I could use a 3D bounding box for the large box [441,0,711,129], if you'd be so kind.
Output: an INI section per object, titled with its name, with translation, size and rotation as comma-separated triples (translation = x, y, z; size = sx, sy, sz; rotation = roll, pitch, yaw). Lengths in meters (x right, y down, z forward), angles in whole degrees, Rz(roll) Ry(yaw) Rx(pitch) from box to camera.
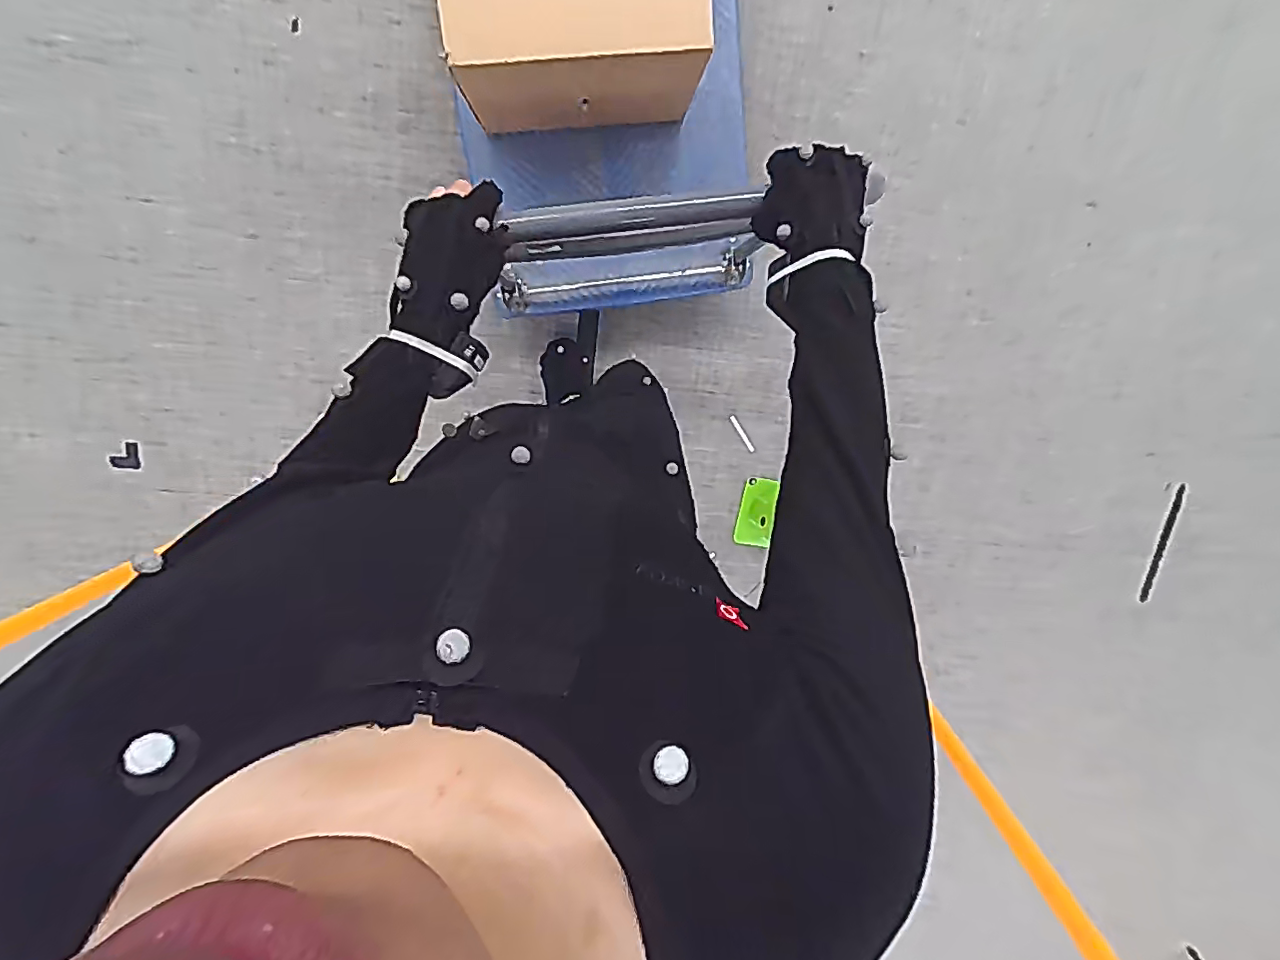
[large box]
translation = -0.111, -0.834, 0.922
size = 0.408, 0.320, 0.320
rotation = -6, 107, -2

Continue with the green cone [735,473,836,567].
[green cone]
translation = 0.401, 0.133, 1.386
size = 0.202, 0.368, 0.200
rotation = 8, 105, -8
